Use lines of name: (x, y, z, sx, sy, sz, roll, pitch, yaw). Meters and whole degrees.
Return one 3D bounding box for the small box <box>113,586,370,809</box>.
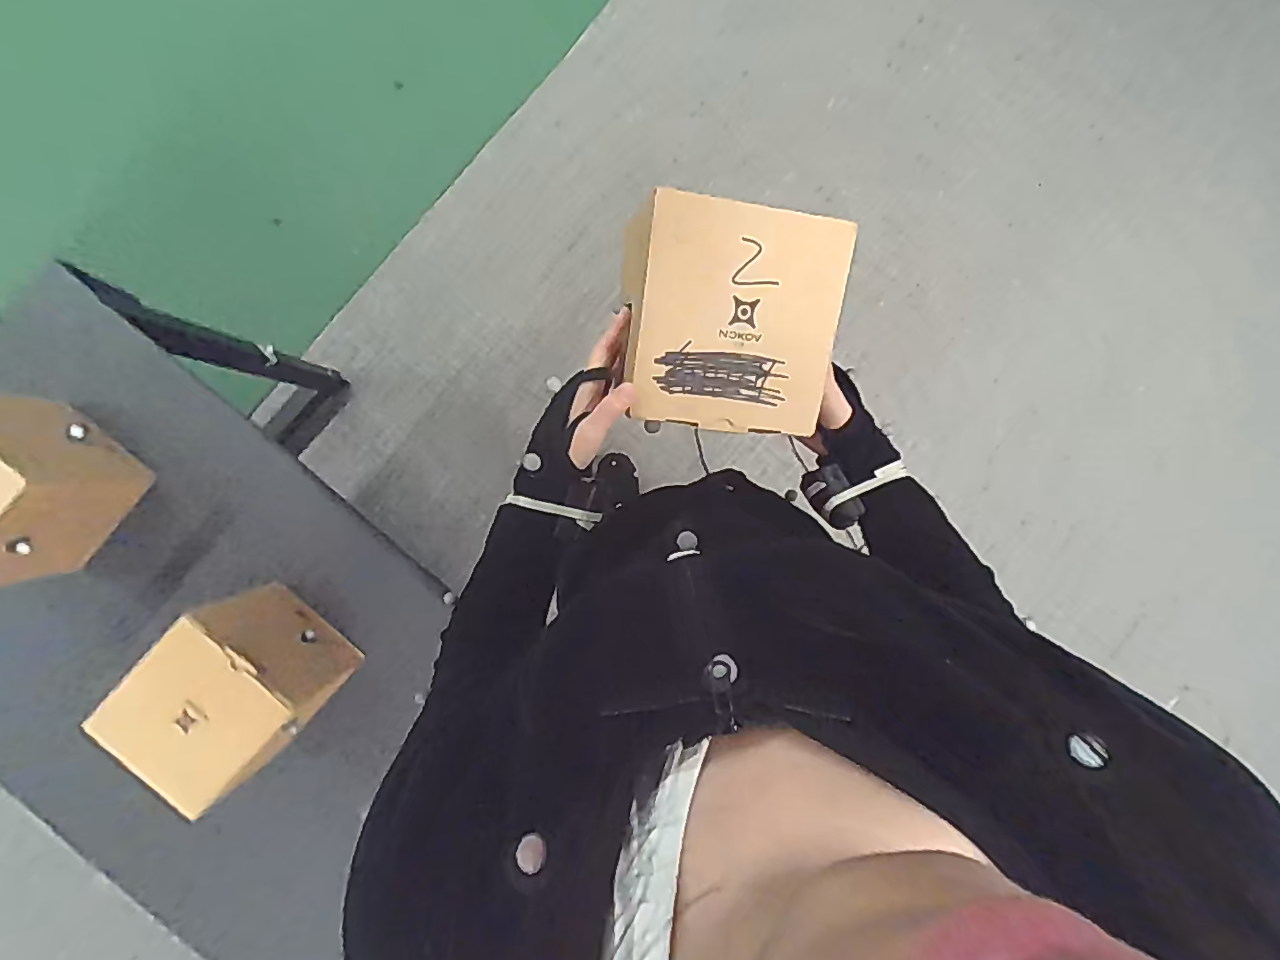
small box: (-0.498, 0.267, 0.707, 0.168, 0.176, 0.179, 42, 91, -1)
